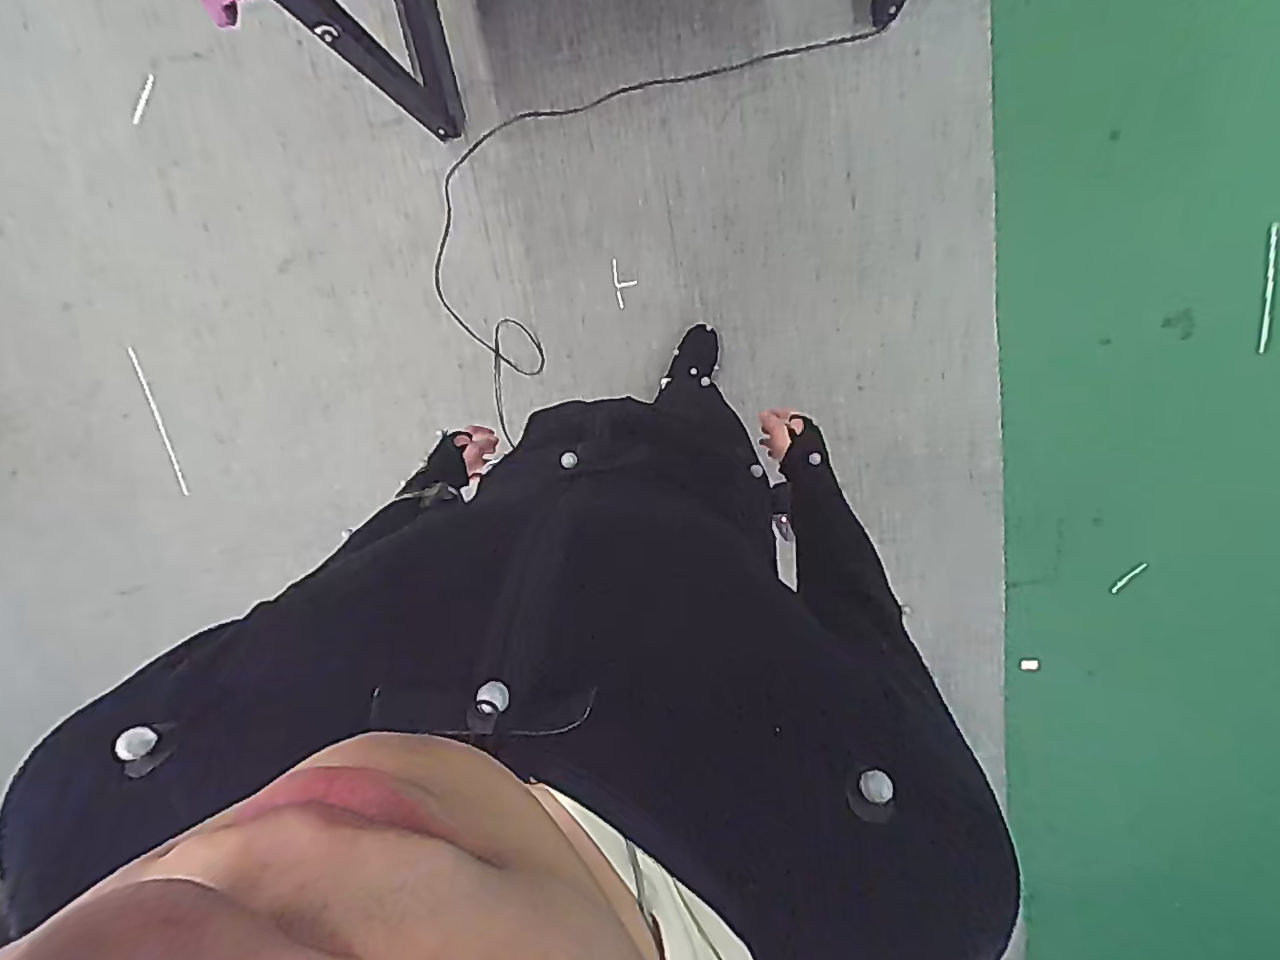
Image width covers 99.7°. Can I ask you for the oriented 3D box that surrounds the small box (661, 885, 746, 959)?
[{"bbox_3d":[0.142,1.032,1.191,0.179,0.176,0.168,-6,102,7],"label":"small box"}]
